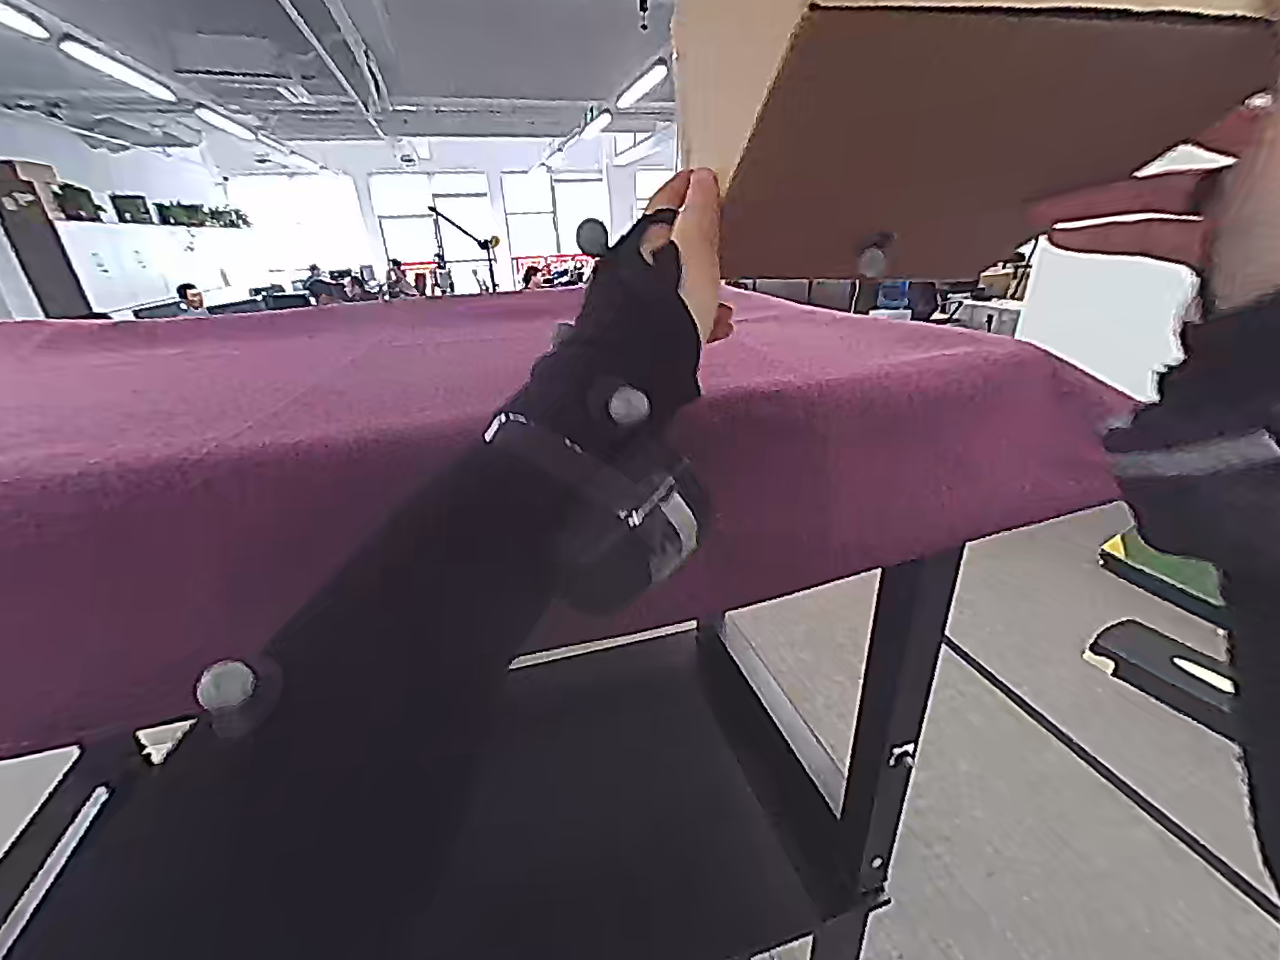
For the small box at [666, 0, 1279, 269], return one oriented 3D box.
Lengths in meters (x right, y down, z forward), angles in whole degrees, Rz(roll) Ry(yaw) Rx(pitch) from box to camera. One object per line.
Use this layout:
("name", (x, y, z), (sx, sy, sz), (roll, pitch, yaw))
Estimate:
("small box", (0.115, -0.212, 0.243), (0.179, 0.168, 0.176), (-2, -6, -7))
